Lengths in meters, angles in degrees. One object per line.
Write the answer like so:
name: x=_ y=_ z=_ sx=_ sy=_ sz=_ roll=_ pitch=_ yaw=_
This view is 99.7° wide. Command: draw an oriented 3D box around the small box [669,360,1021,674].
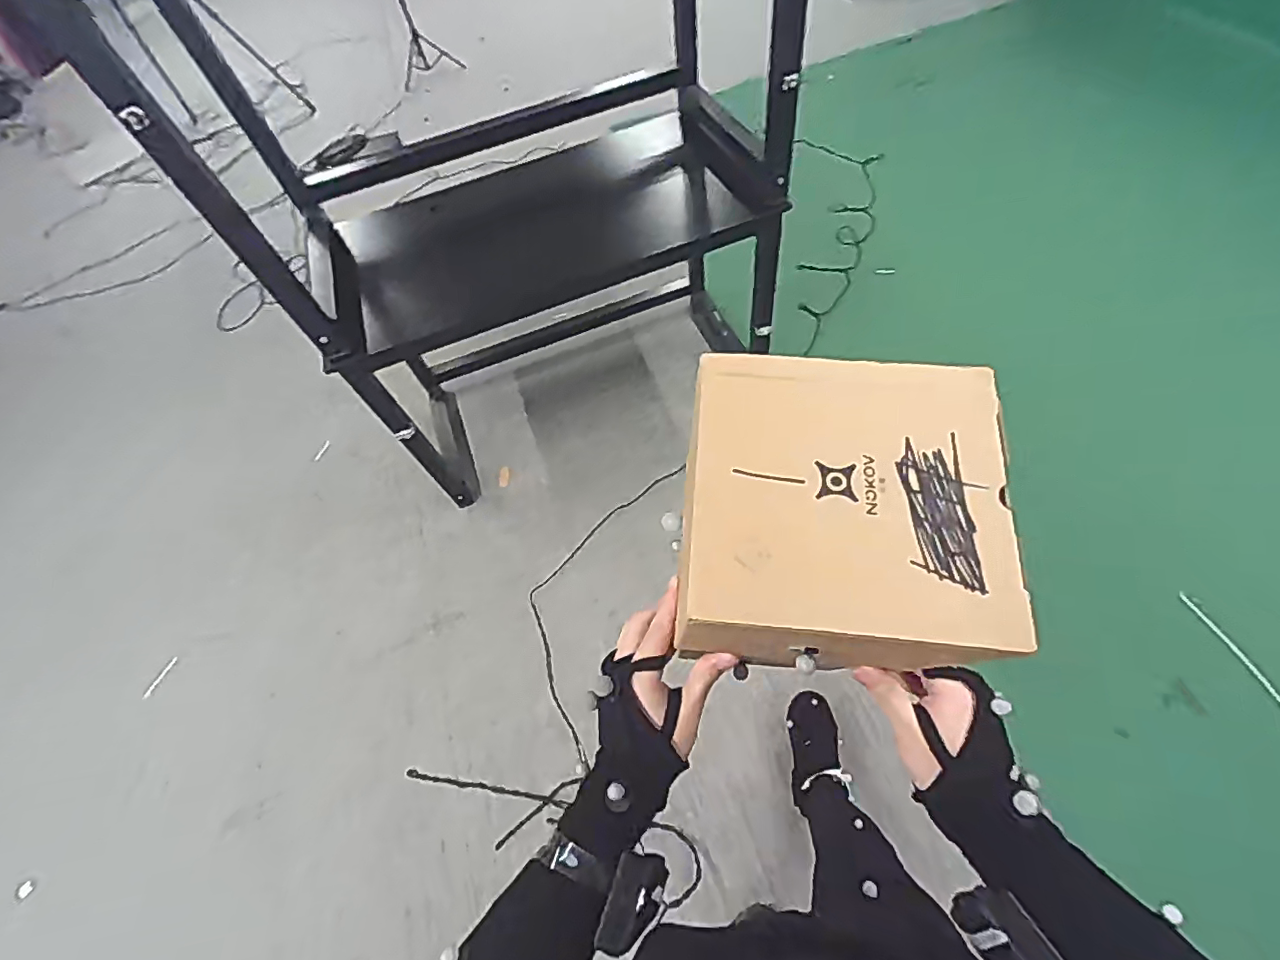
small box: x=0.115 y=0.038 z=0.377 sx=0.179 sy=0.176 sz=0.168 roll=4 pitch=67 yaw=5
